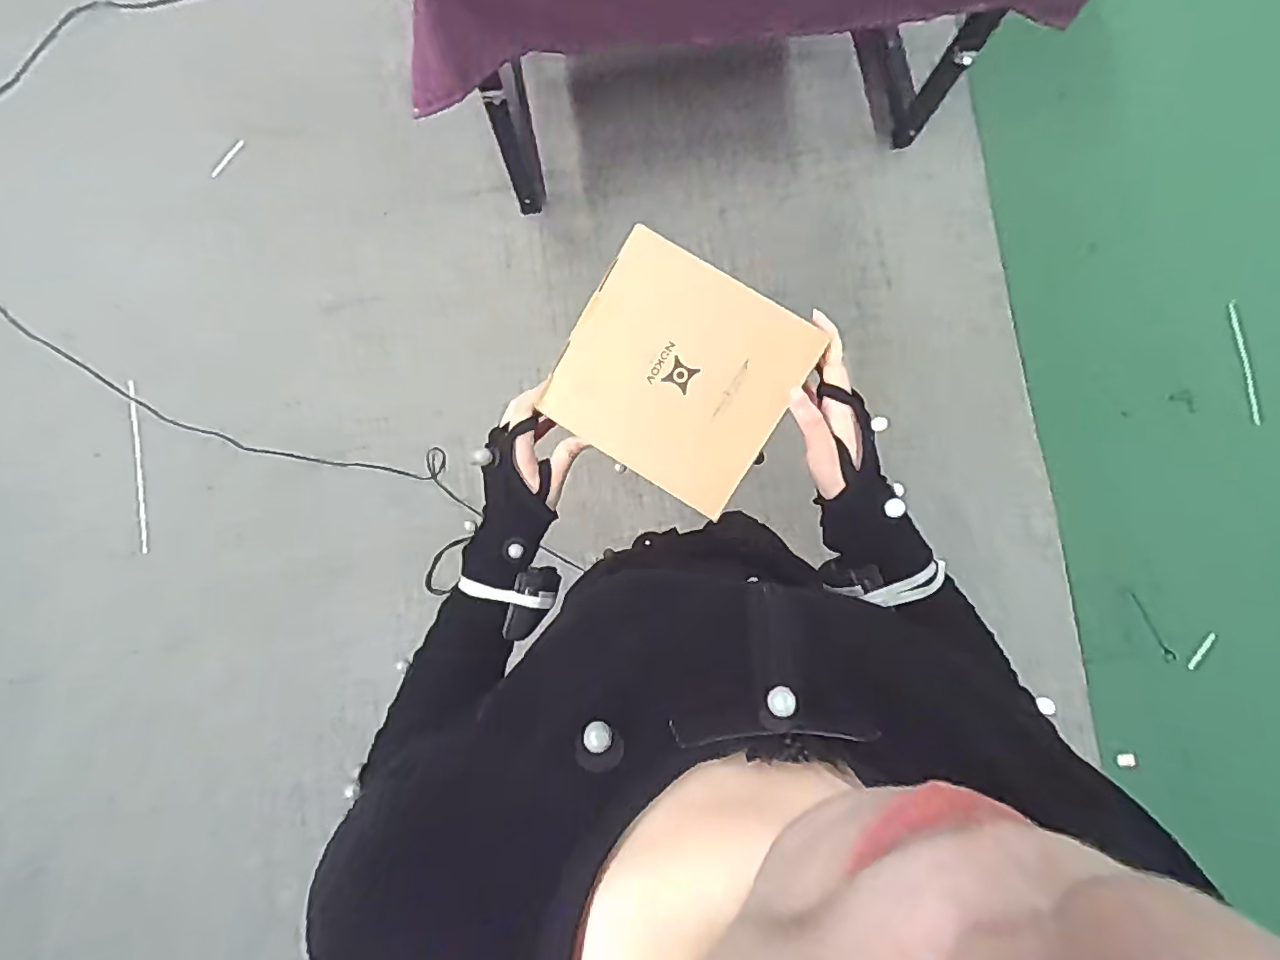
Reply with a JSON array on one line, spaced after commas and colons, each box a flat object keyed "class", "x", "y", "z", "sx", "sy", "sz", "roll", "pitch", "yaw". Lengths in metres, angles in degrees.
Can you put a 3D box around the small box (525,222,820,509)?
[{"class": "small box", "x": 0.030, "y": -0.090, "z": 0.496, "sx": 0.179, "sy": 0.176, "sz": 0.168, "roll": 32, "pitch": 96, "yaw": 5}]
